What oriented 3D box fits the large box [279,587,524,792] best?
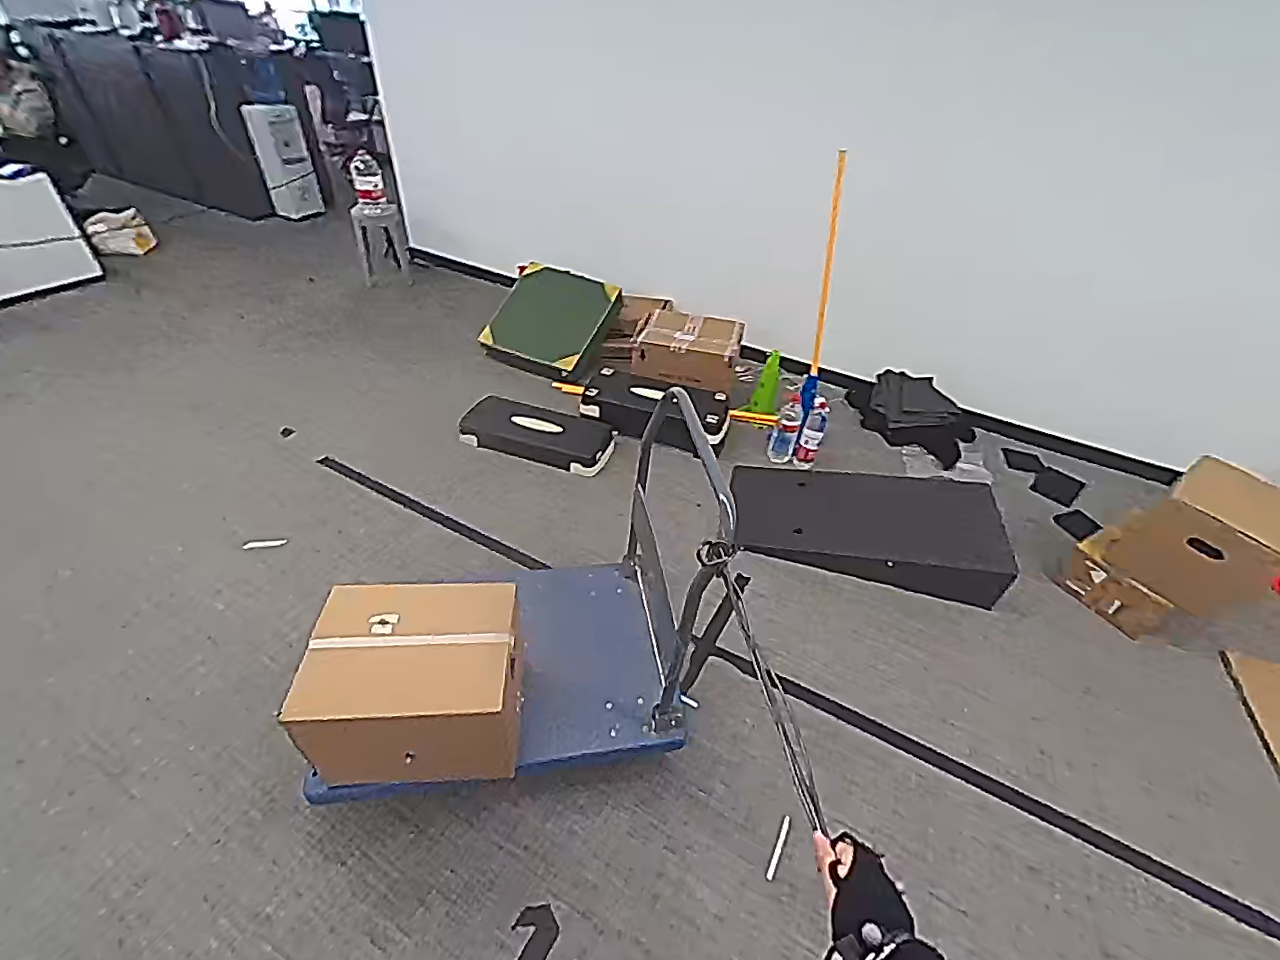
[{"bbox_3d":[-0.478,0.463,1.206,0.408,0.320,0.320,-1,40,-6],"label":"large box"}]
